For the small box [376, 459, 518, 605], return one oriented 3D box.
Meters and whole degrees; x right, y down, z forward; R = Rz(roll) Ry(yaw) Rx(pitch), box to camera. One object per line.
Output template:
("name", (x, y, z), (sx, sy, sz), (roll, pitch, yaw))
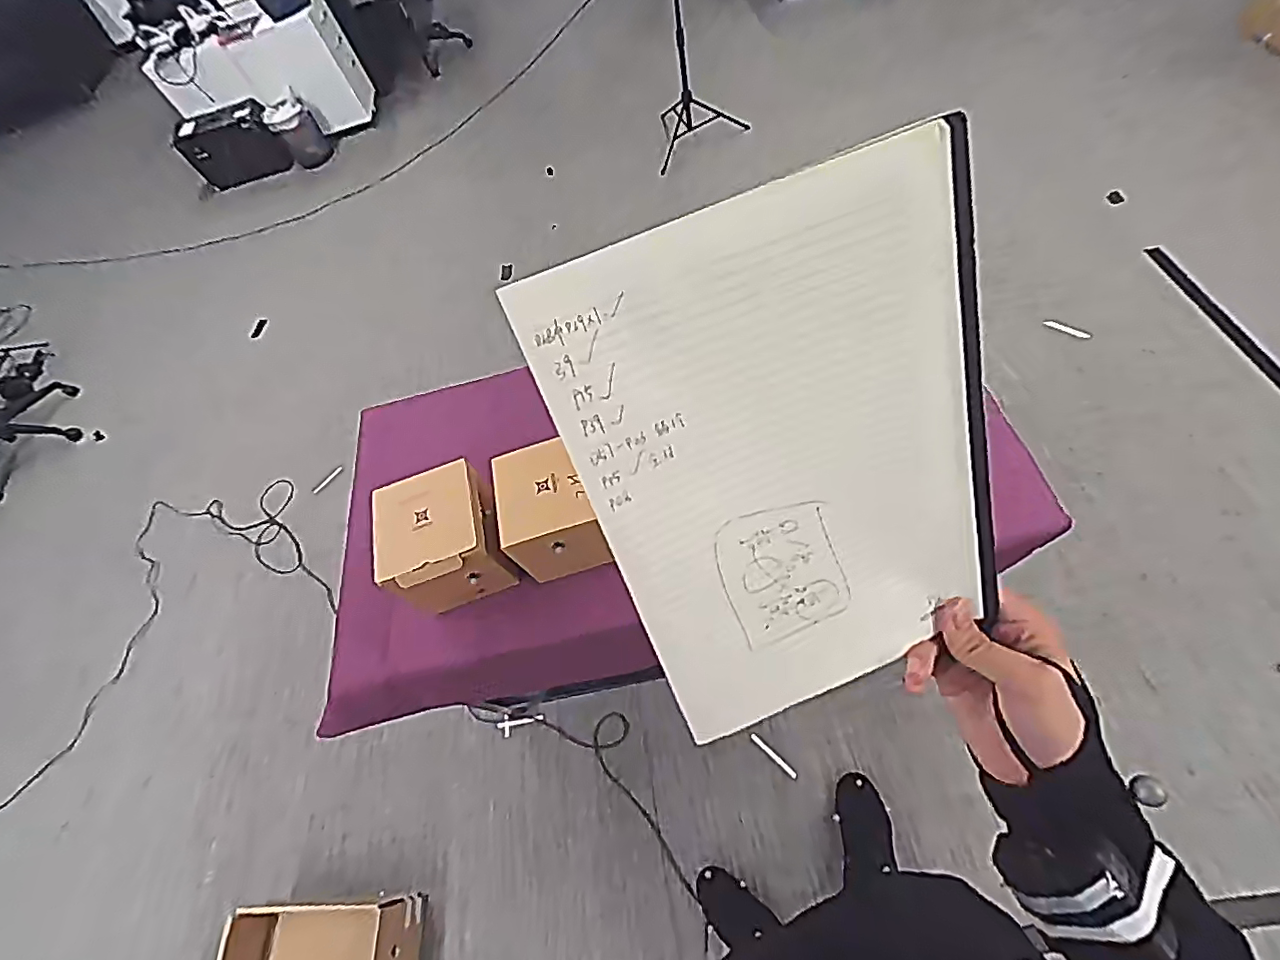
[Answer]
("small box", (-0.322, 0.098, 0.920), (0.168, 0.176, 0.179), (-20, 59, 1))
